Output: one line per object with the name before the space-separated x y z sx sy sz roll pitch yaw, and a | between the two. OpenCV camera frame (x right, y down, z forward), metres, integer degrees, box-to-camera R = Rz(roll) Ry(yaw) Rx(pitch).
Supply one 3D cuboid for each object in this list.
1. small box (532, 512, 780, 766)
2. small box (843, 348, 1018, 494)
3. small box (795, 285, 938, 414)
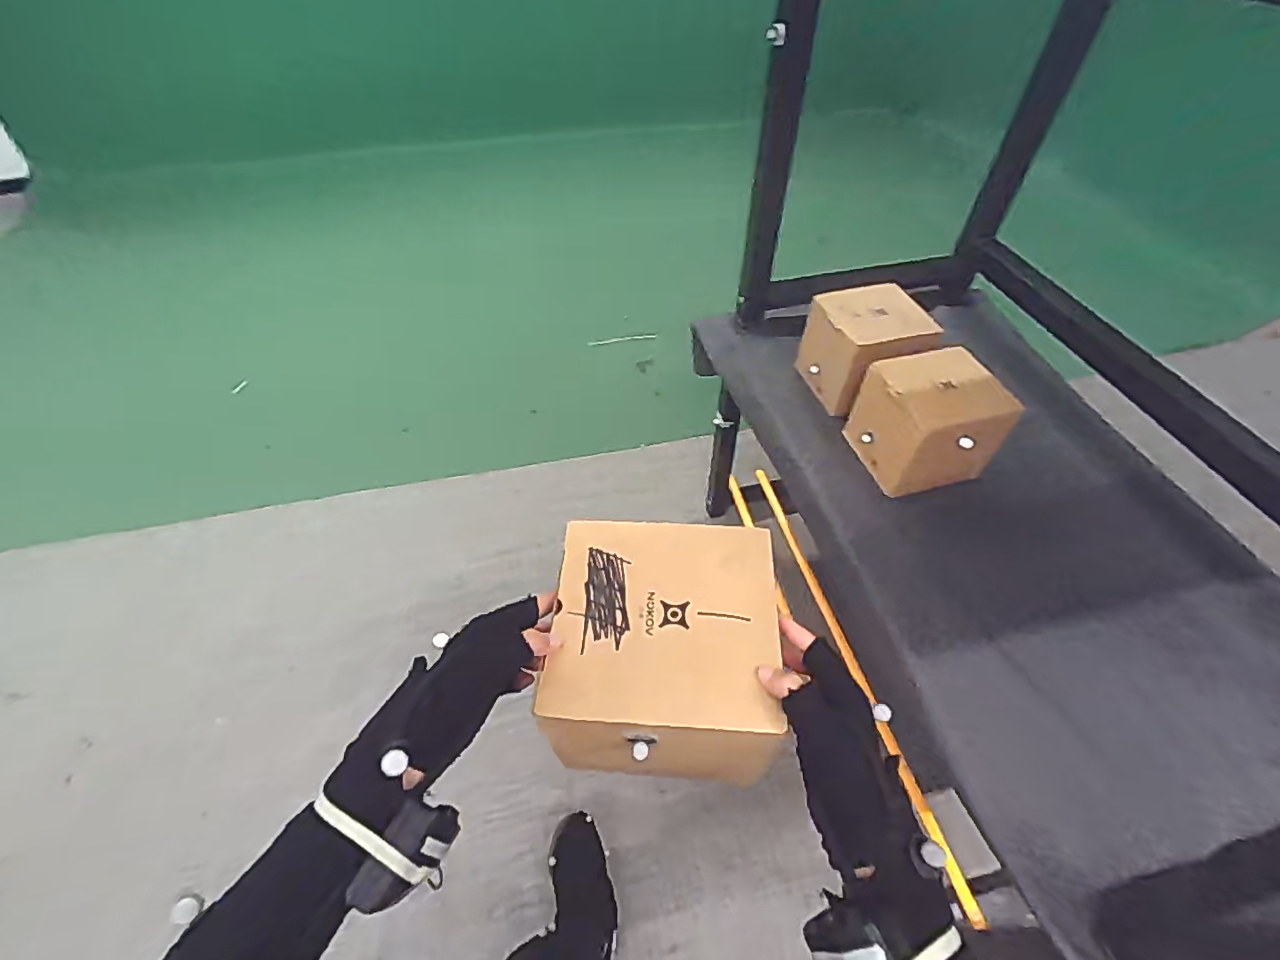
small box | 0.018 0.145 0.483 0.179 0.176 0.168 2 51 3
small box | 0.483 -0.100 0.931 0.179 0.176 0.168 -12 51 -9
small box | 0.428 -0.252 1.055 0.179 0.176 0.168 -12 51 -9
